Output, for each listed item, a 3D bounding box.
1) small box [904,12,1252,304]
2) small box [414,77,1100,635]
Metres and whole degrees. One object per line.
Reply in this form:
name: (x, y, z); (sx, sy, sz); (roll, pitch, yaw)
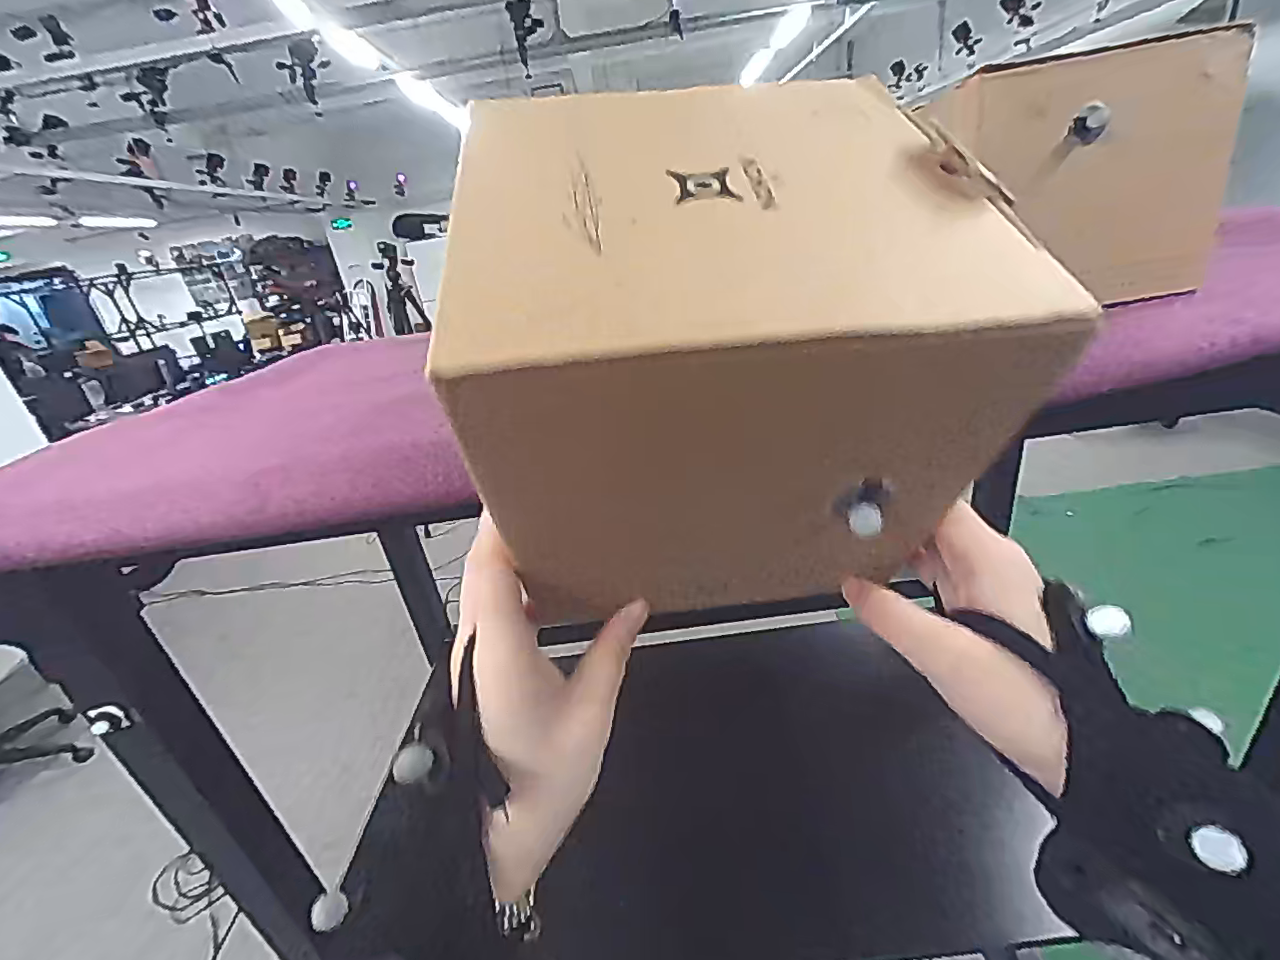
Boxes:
small box: (0.315, -0.236, 0.447); (0.179, 0.176, 0.168); (-8, 23, 4)
small box: (0.026, -0.043, 0.242); (0.179, 0.176, 0.168); (-7, 55, -2)
